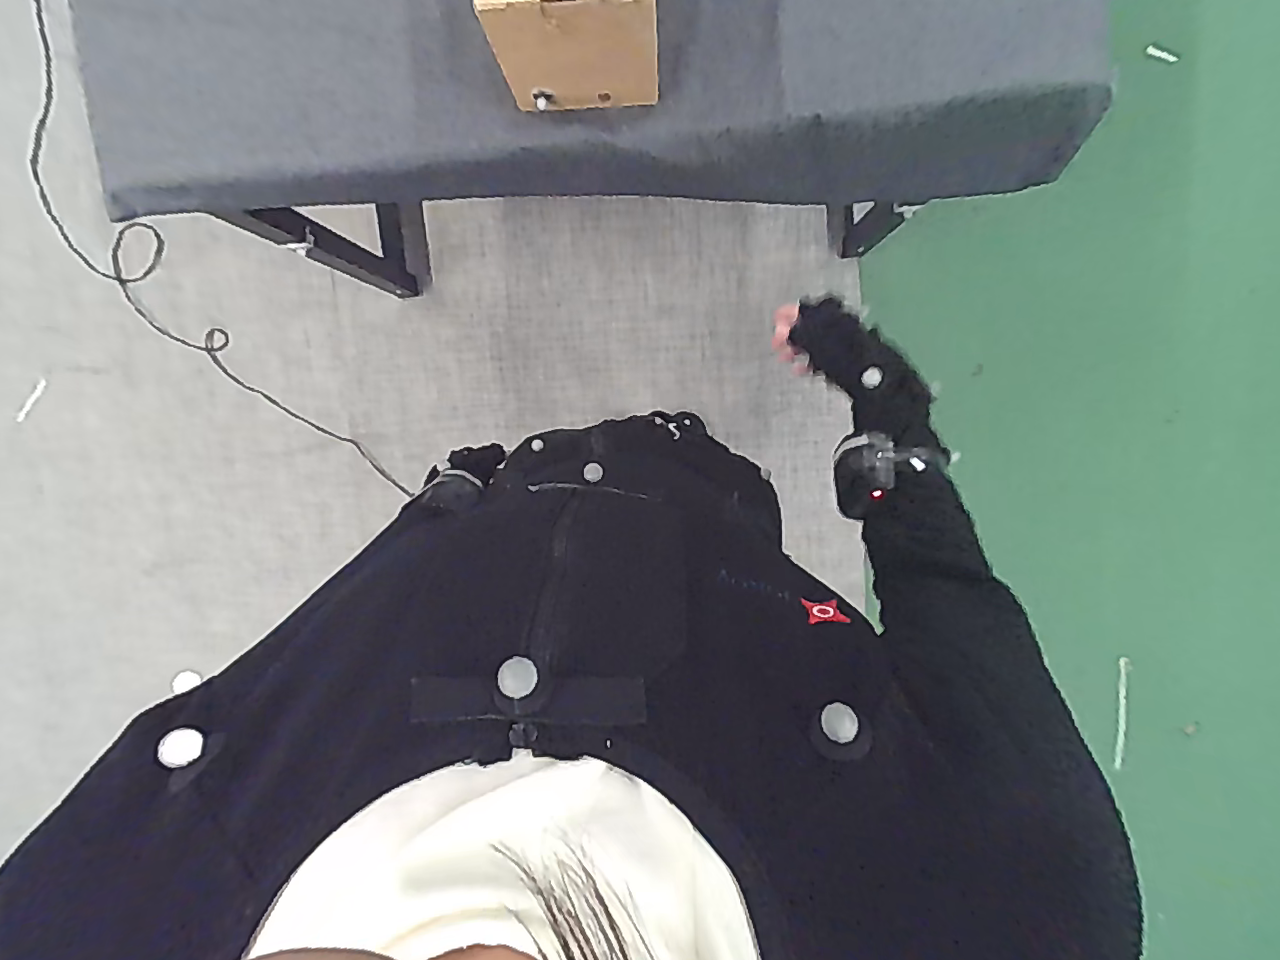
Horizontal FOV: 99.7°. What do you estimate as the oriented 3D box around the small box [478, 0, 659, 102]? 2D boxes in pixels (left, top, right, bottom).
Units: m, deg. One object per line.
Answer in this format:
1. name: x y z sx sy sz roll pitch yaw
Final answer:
1. small box: -0.064 -0.526 0.561 0.168 0.176 0.179 0 95 2
